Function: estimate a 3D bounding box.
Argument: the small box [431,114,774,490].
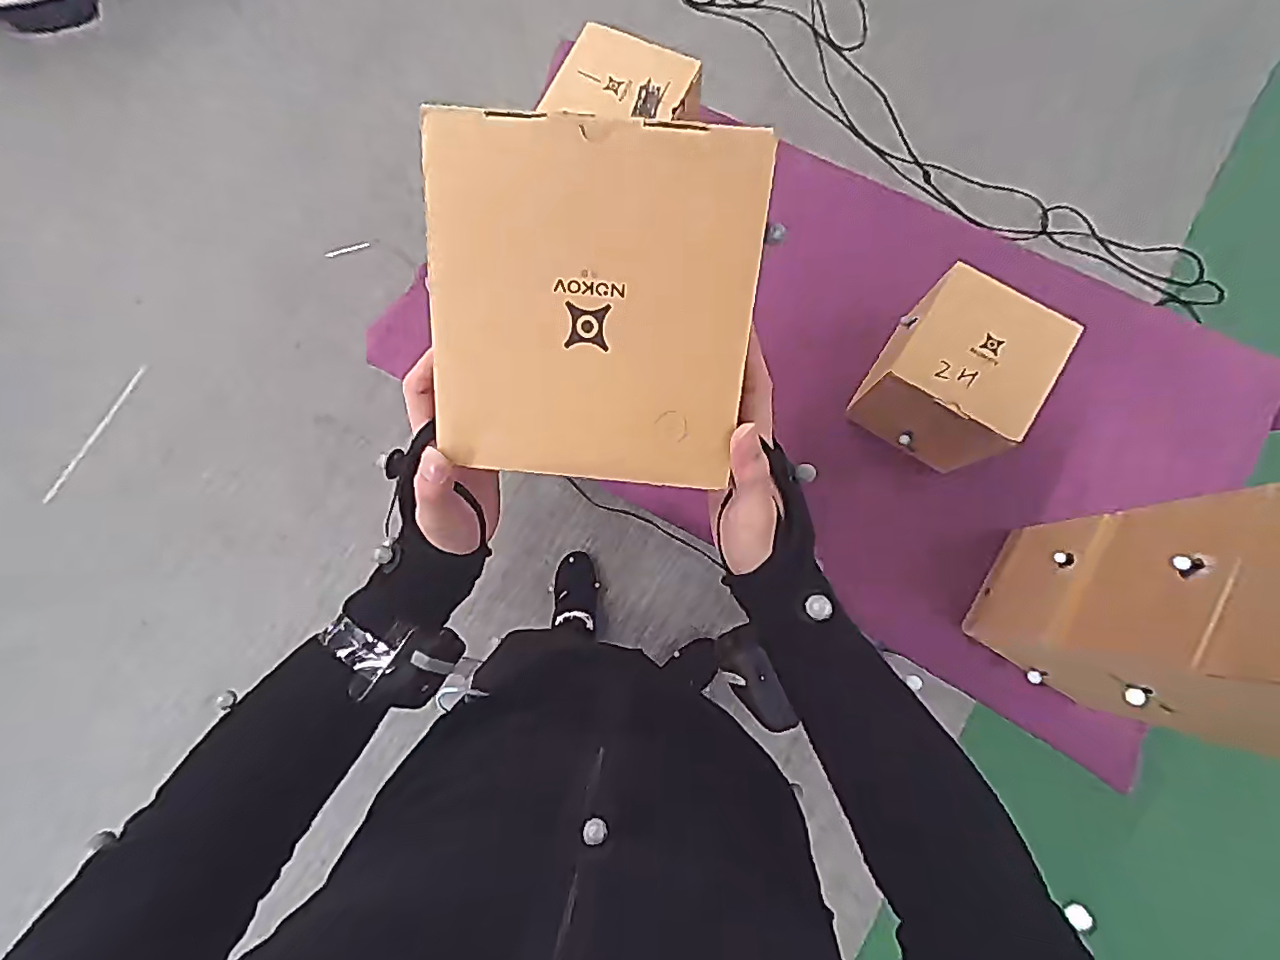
[{"bbox_3d":[-0.018,-0.109,0.354,0.168,0.176,0.179,5,109,3],"label":"small box"}]

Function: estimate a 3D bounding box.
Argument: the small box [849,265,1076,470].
[{"bbox_3d":[0.410,-0.138,0.722,0.168,0.176,0.179,33,82,8],"label":"small box"}]

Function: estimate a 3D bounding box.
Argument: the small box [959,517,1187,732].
[{"bbox_3d":[0.543,0.165,0.660,0.179,0.176,0.168,33,81,8],"label":"small box"}]

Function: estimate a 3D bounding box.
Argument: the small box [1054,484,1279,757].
[{"bbox_3d":[0.542,0.131,0.501,0.168,0.176,0.179,33,82,9],"label":"small box"}]

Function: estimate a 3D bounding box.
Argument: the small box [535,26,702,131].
[{"bbox_3d":[-0.025,-0.504,0.803,0.179,0.176,0.168,25,81,7],"label":"small box"}]
